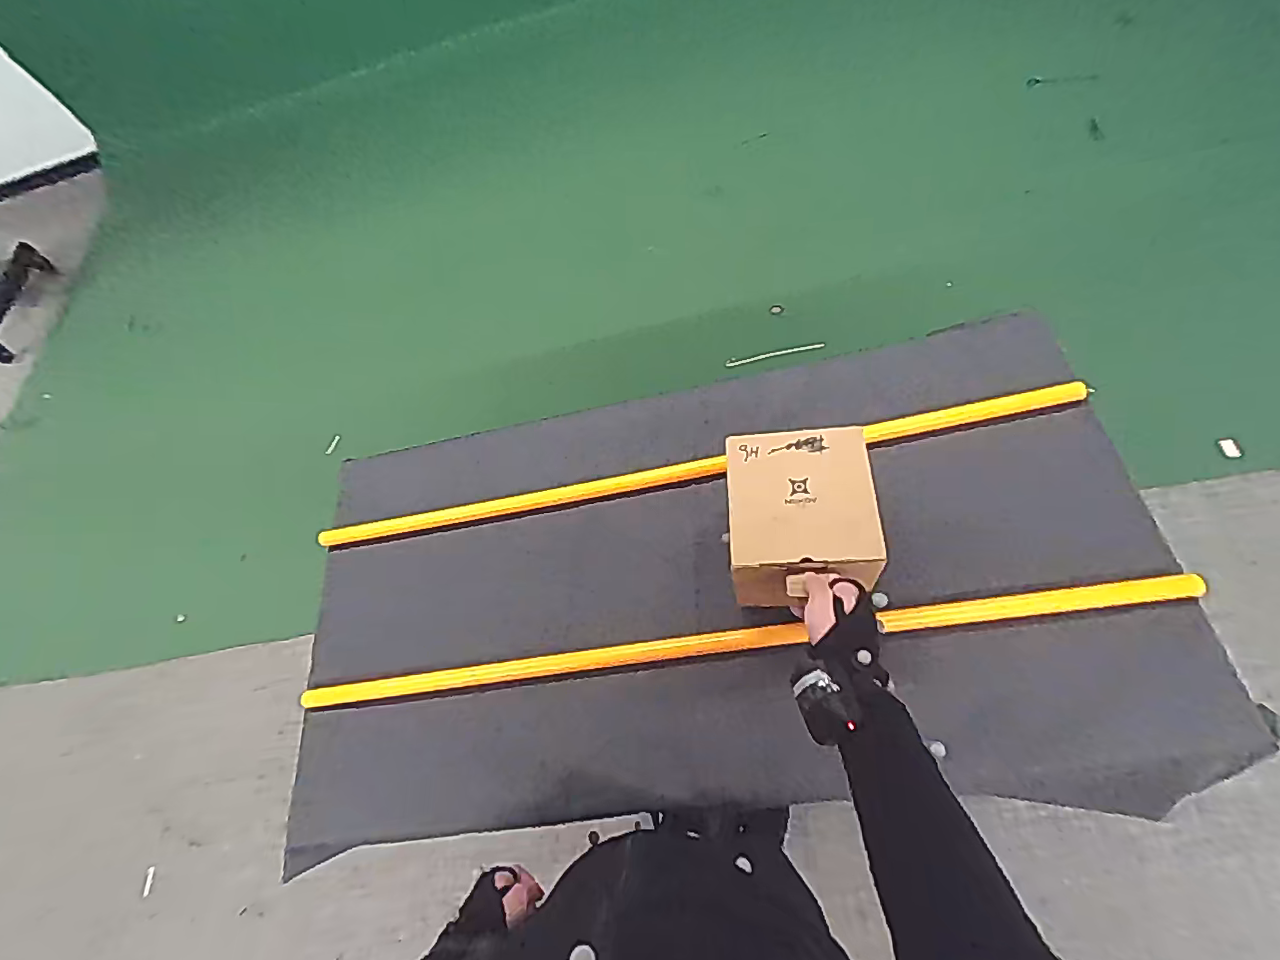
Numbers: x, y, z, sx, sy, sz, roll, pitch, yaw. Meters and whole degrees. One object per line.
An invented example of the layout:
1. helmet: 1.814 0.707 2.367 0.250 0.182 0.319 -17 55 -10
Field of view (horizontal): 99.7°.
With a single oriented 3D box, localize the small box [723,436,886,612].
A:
1. small box: 0.207 0.068 0.705 0.168 0.176 0.179 -8 61 12
